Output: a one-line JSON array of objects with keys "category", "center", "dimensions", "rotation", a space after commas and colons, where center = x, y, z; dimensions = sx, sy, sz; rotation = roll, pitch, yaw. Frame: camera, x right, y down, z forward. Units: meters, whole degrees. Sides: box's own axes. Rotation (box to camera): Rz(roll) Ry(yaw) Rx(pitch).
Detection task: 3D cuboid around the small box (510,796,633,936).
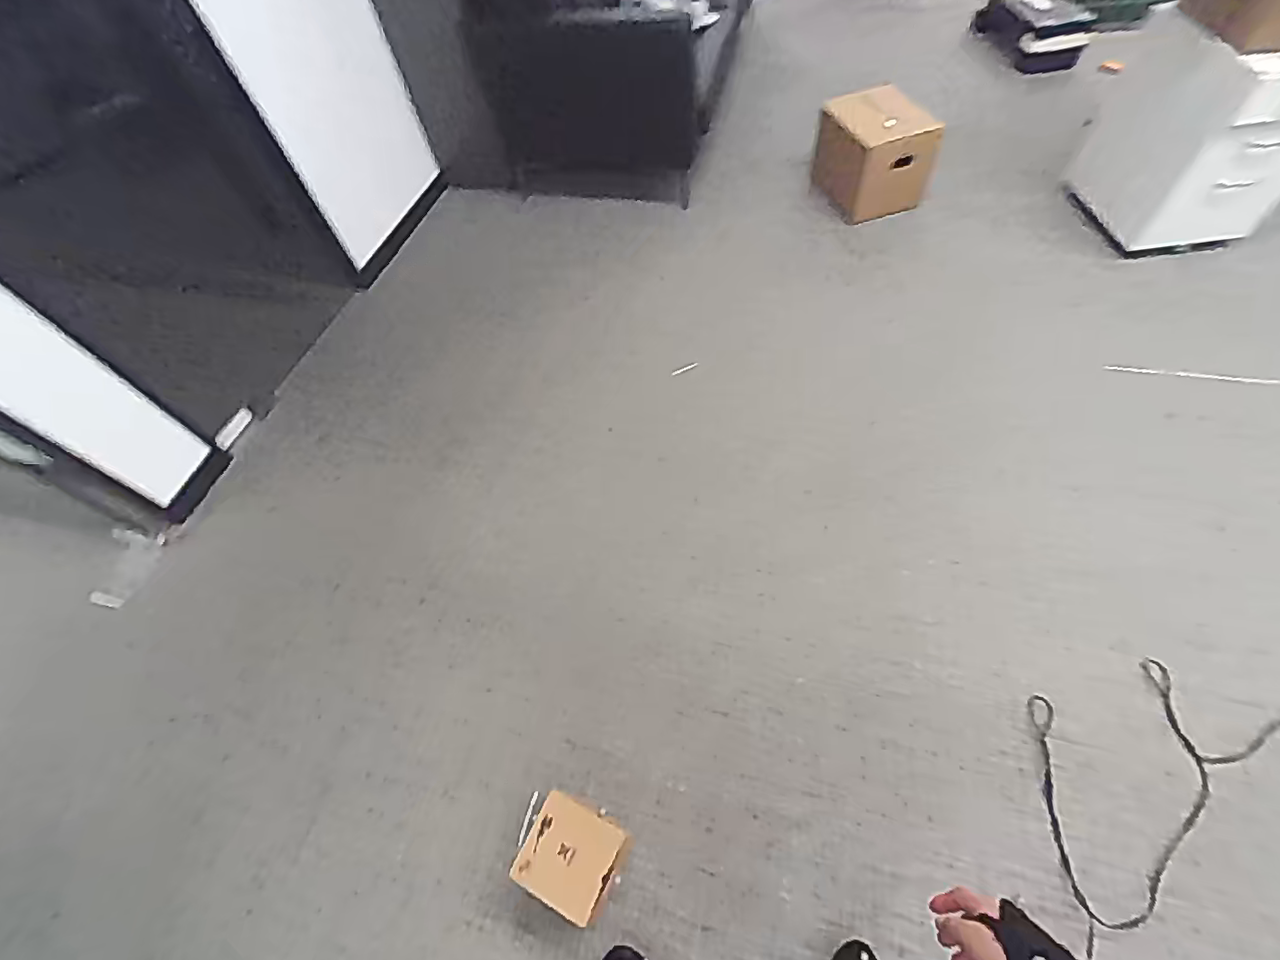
[{"category": "small box", "center": [-0.127, 0.771, 1.099], "dimensions": [0.179, 0.176, 0.168], "rotation": [21, 61, 19]}]
